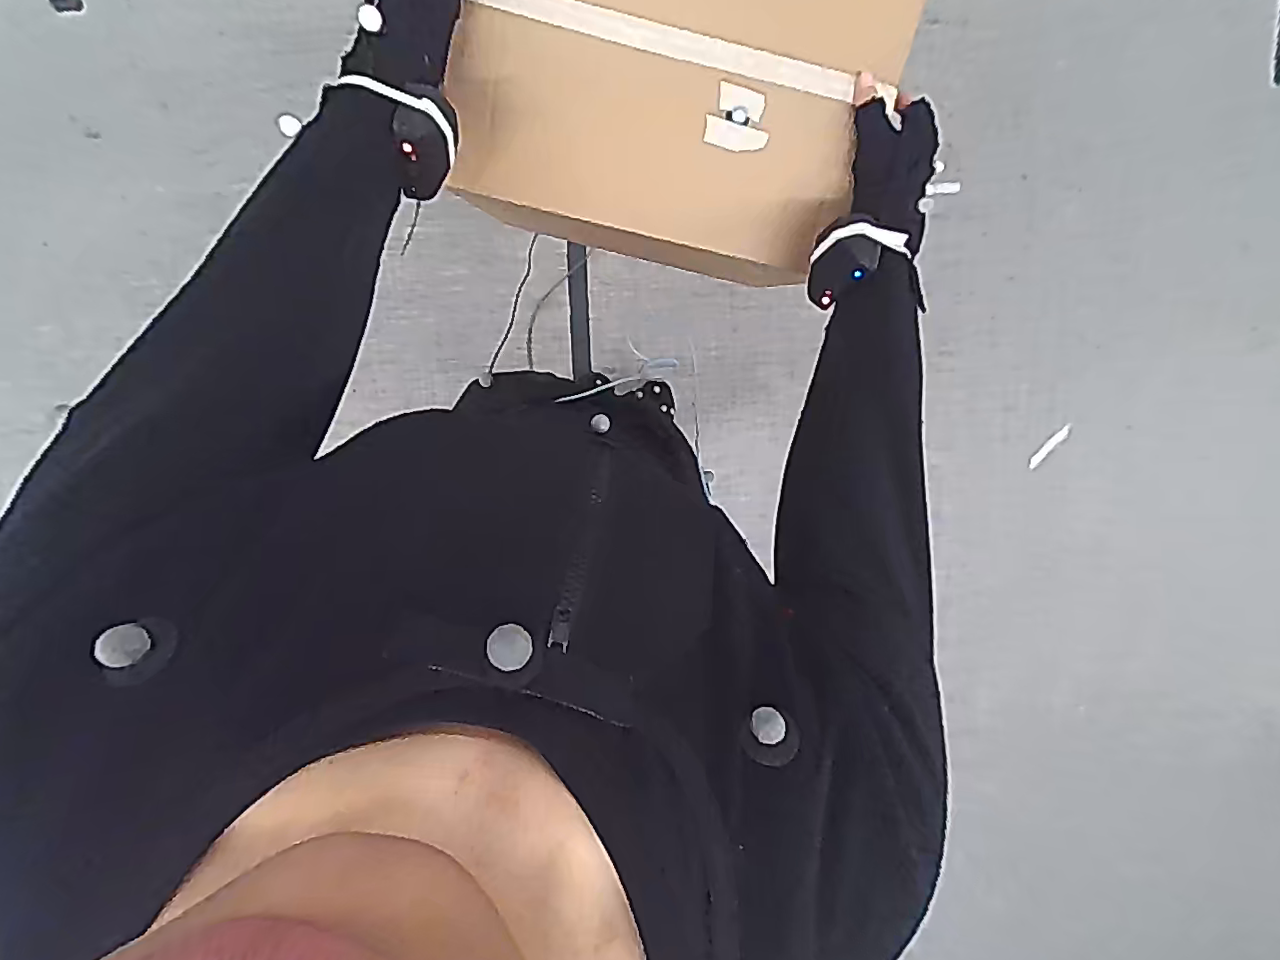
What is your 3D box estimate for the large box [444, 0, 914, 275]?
[{"bbox_3d":[0.030,-0.442,0.625,0.408,0.320,0.320,11,109,-5],"label":"large box"}]
